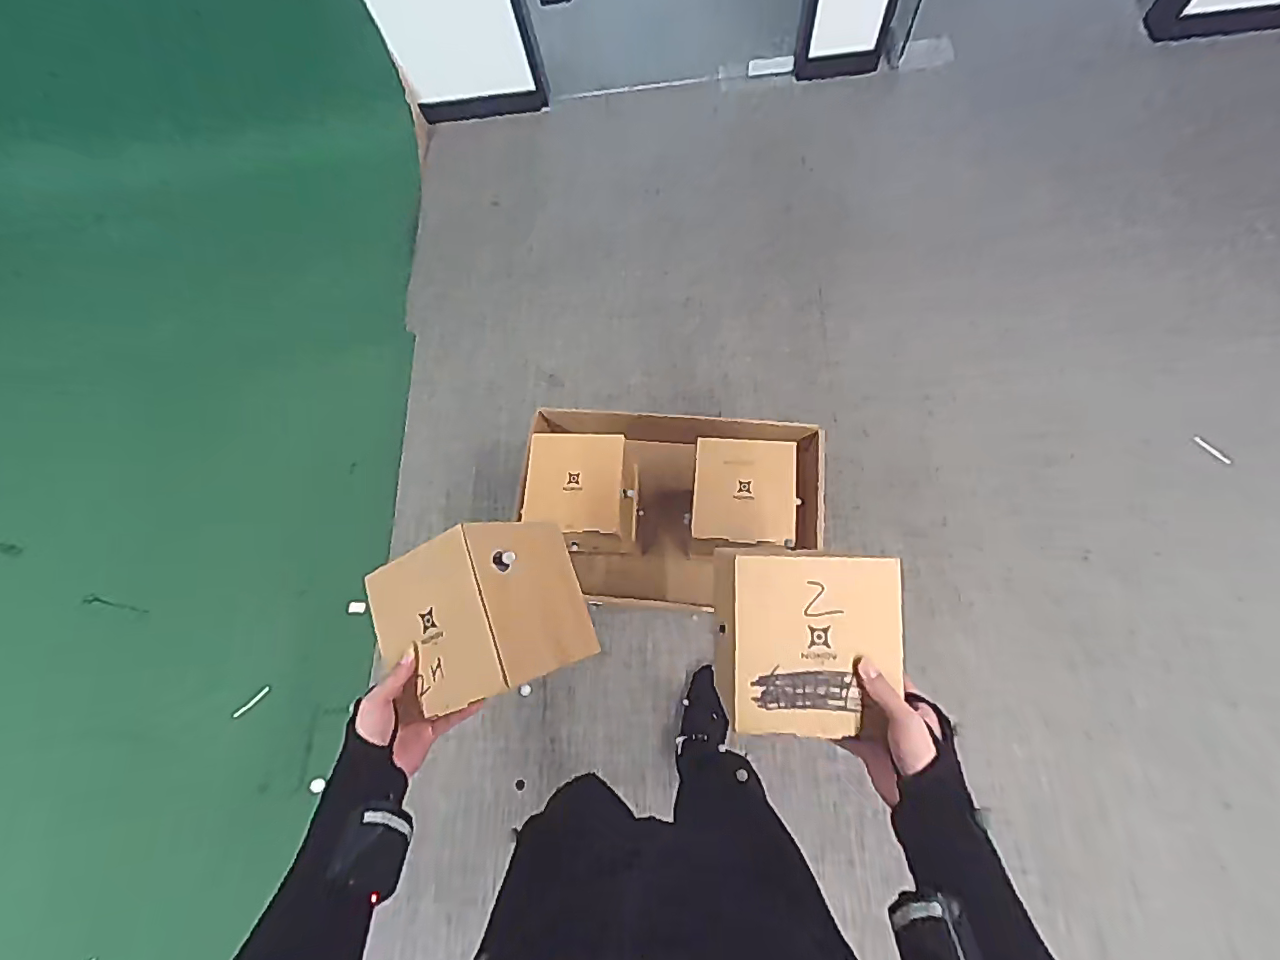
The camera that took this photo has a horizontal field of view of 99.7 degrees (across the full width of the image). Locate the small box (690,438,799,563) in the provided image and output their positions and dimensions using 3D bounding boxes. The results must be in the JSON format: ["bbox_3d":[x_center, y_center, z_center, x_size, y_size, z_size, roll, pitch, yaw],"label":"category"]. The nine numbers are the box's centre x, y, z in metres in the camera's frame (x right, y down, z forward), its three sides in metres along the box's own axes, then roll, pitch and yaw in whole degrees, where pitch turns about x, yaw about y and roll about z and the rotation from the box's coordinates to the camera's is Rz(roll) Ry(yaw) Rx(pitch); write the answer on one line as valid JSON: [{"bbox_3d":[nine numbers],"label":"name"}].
[{"bbox_3d":[0.177,0.042,0.942,0.168,0.176,0.179,5,72,7],"label":"small box"}]

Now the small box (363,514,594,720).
[{"bbox_3d":[-0.181,0.150,0.630,0.168,0.176,0.179,-26,75,24],"label":"small box"}]

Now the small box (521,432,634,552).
[{"bbox_3d":[-0.103,0.026,0.979,0.168,0.176,0.179,2,73,6],"label":"small box"}]

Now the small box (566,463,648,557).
[{"bbox_3d":[-0.082,0.065,1.137,0.179,0.176,0.168,2,73,6],"label":"small box"}]
